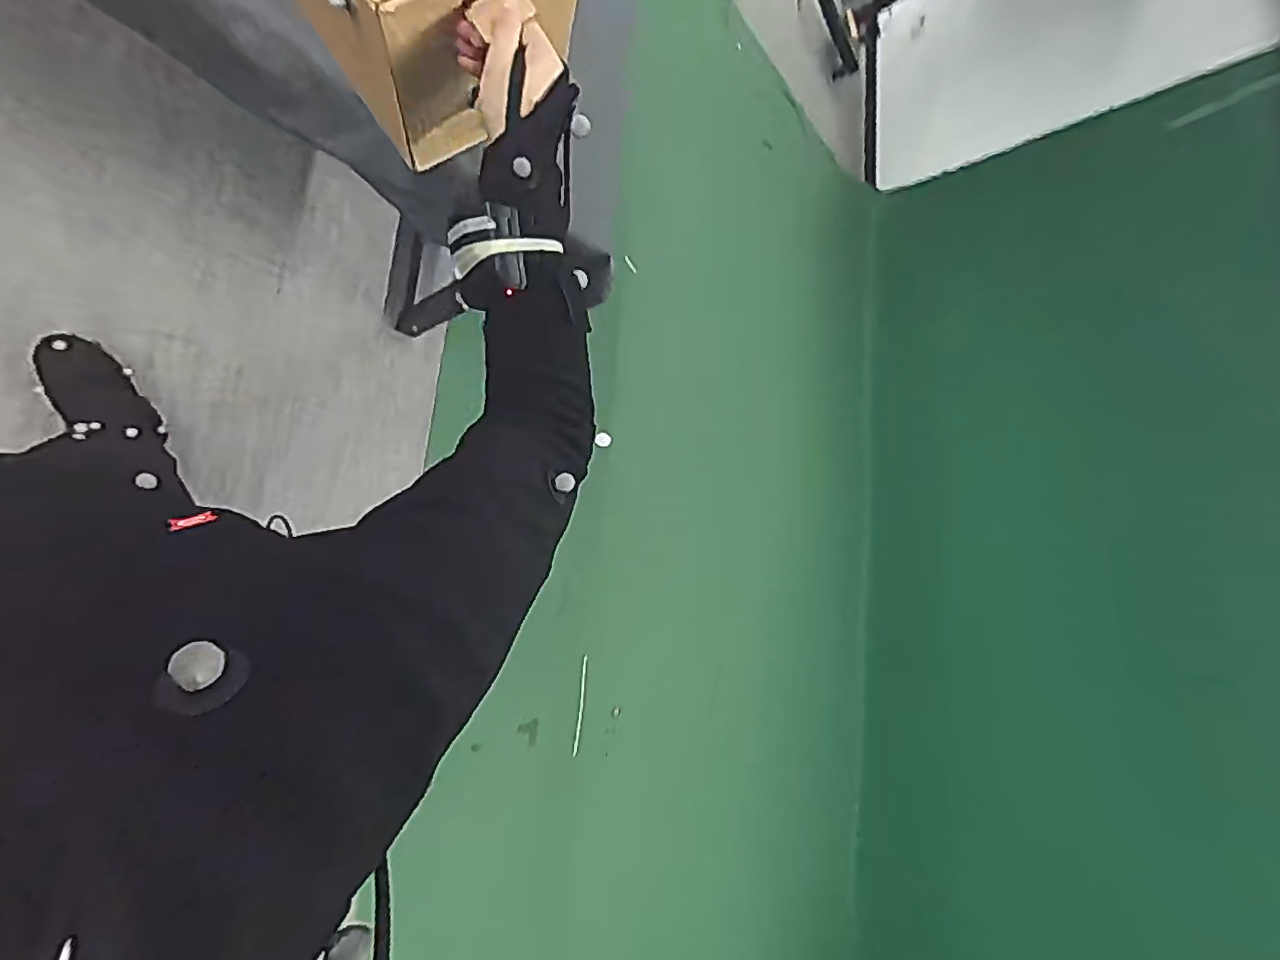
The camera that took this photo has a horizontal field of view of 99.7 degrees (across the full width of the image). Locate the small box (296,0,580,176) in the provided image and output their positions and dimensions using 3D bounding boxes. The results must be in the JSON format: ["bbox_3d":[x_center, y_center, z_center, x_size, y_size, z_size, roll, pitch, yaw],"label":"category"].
[{"bbox_3d":[-0.169,-0.392,0.429,0.168,0.176,0.179,-37,97,-15],"label":"small box"}]
